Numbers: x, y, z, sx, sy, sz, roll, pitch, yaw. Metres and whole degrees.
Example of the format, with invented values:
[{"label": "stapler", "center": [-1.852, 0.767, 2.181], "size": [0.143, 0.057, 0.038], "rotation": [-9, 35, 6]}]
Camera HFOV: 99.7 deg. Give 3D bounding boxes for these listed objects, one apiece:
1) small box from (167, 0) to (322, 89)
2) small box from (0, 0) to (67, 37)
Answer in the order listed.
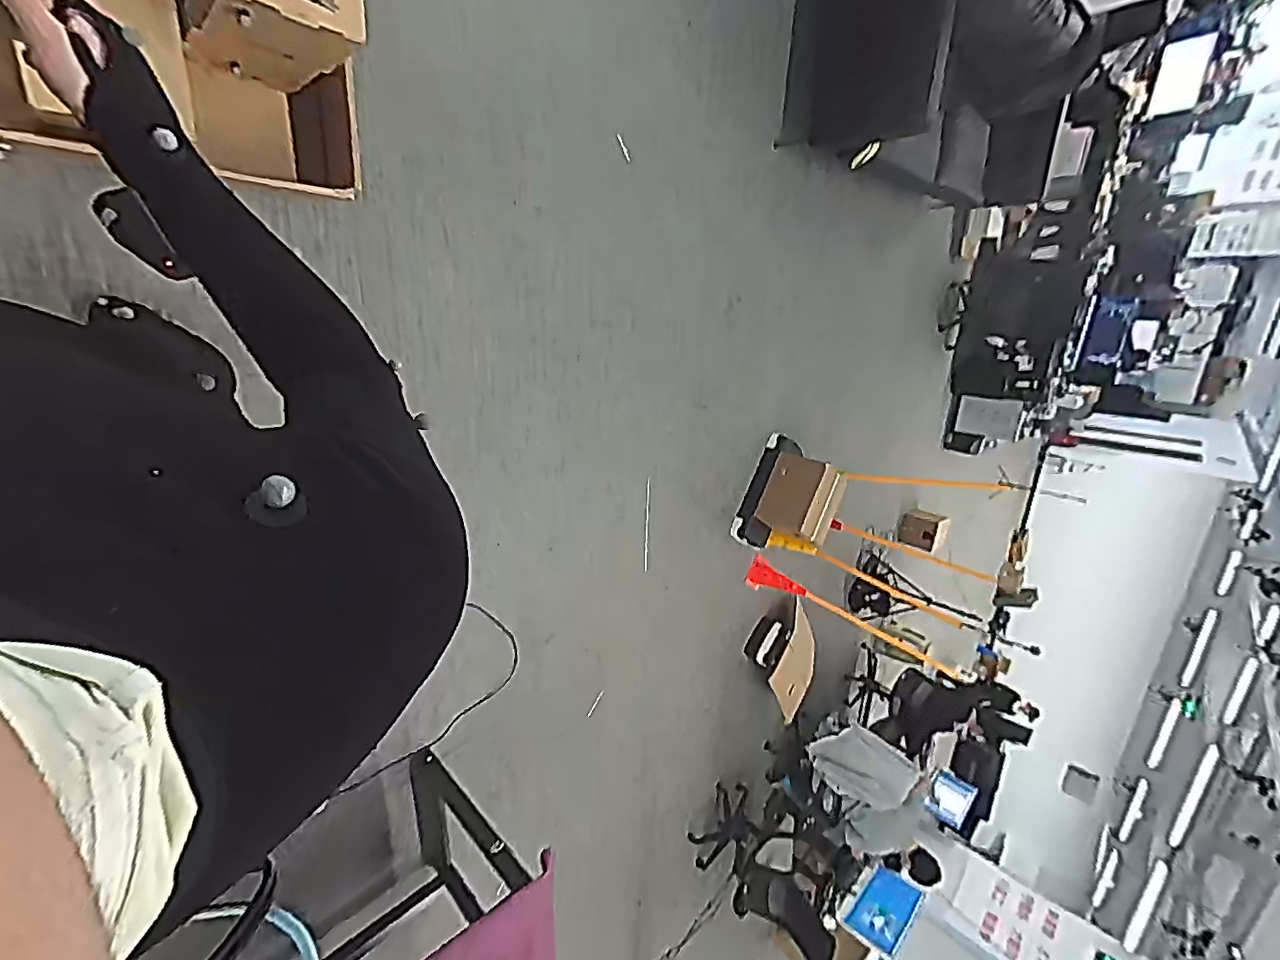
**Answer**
[{"label": "small box", "center": [-0.610, -0.739, 0.826], "size": [0.168, 0.176, 0.179], "rotation": [-12, 114, -45]}, {"label": "small box", "center": [-0.547, -0.424, 0.360], "size": [0.179, 0.176, 0.168], "rotation": [-25, 127, -45]}]
